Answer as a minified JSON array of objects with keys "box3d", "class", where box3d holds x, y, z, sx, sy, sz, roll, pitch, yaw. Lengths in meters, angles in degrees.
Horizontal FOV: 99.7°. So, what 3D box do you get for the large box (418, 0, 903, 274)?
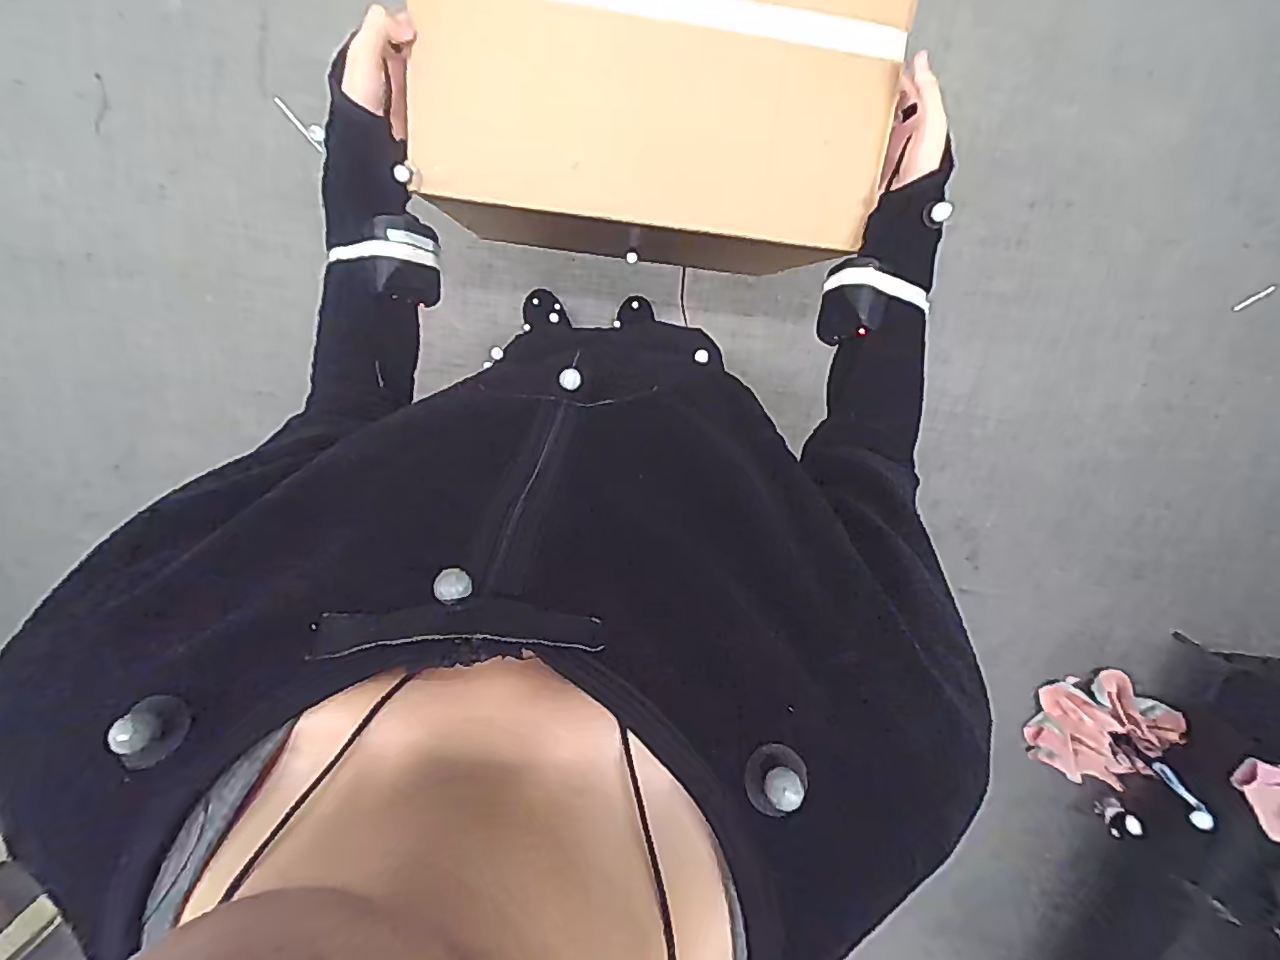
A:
[{"box3d":[0.010,-0.414,0.590,0.408,0.320,0.320,4,105,-6],"class":"large box"}]
